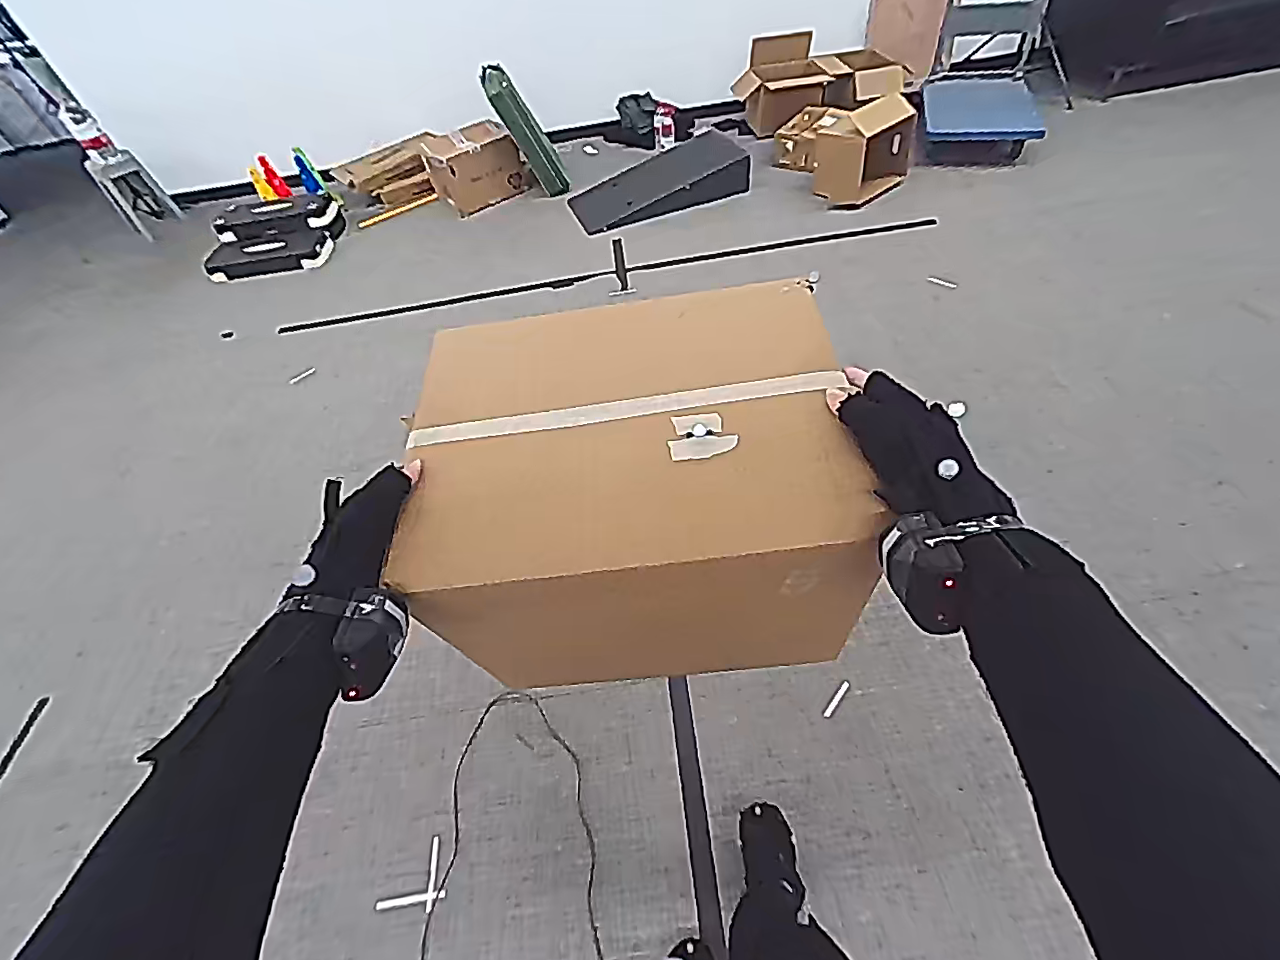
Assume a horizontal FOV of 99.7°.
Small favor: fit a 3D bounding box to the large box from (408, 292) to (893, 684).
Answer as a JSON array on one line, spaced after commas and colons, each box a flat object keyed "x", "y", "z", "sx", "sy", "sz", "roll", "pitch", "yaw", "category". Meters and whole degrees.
[{"x": 0.010, "y": 0.026, "z": 0.637, "sx": 0.408, "sy": 0.320, "sz": 0.320, "roll": -7, "pitch": 55, "yaw": 3, "category": "large box"}]
